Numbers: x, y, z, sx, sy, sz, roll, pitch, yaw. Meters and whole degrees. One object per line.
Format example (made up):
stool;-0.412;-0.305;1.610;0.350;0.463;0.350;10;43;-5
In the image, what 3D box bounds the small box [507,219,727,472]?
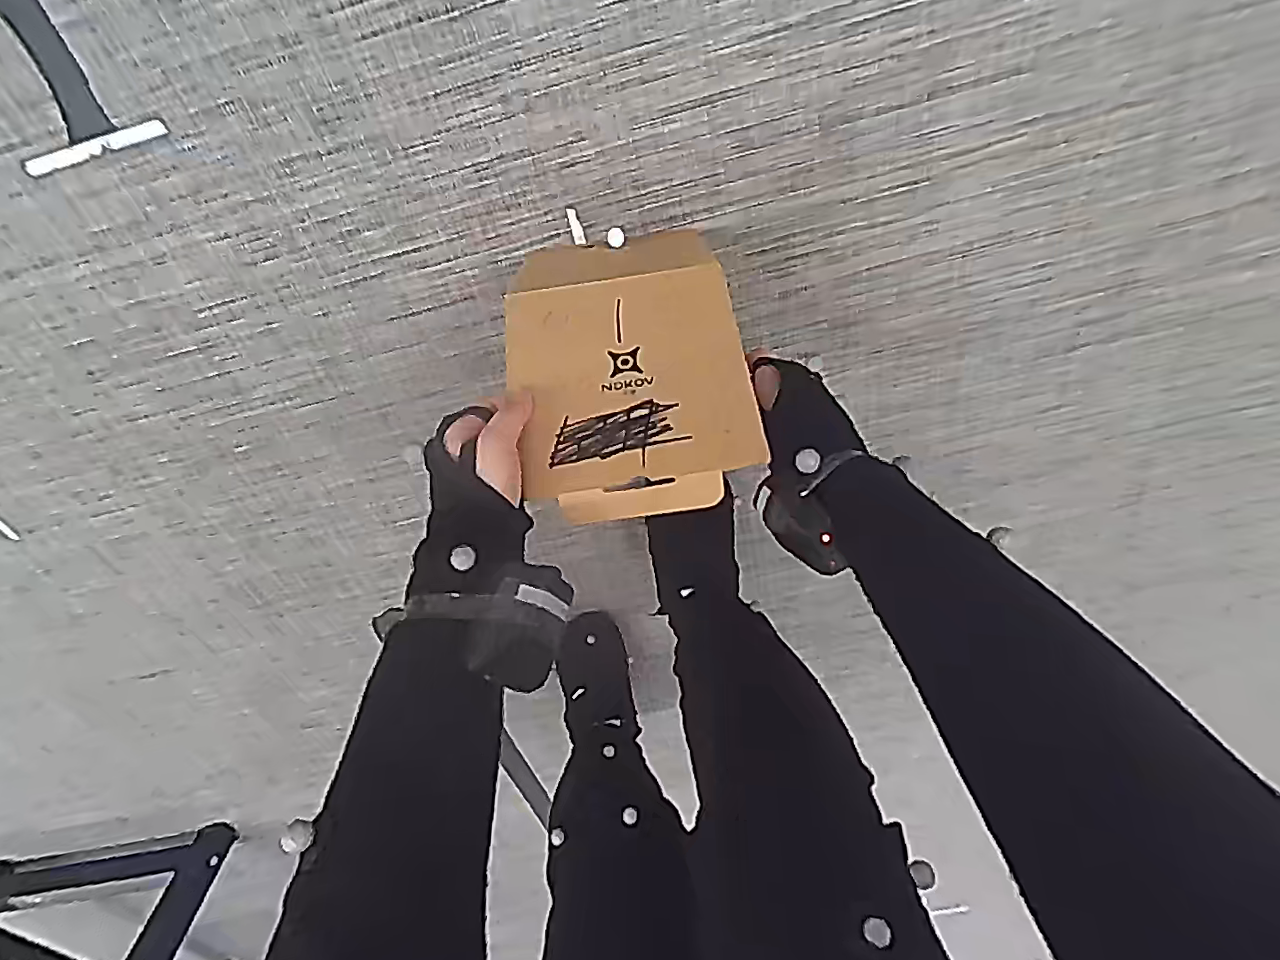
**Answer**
small box;-0.014;-0.132;0.512;0.168;0.176;0.179;-8;123;0
